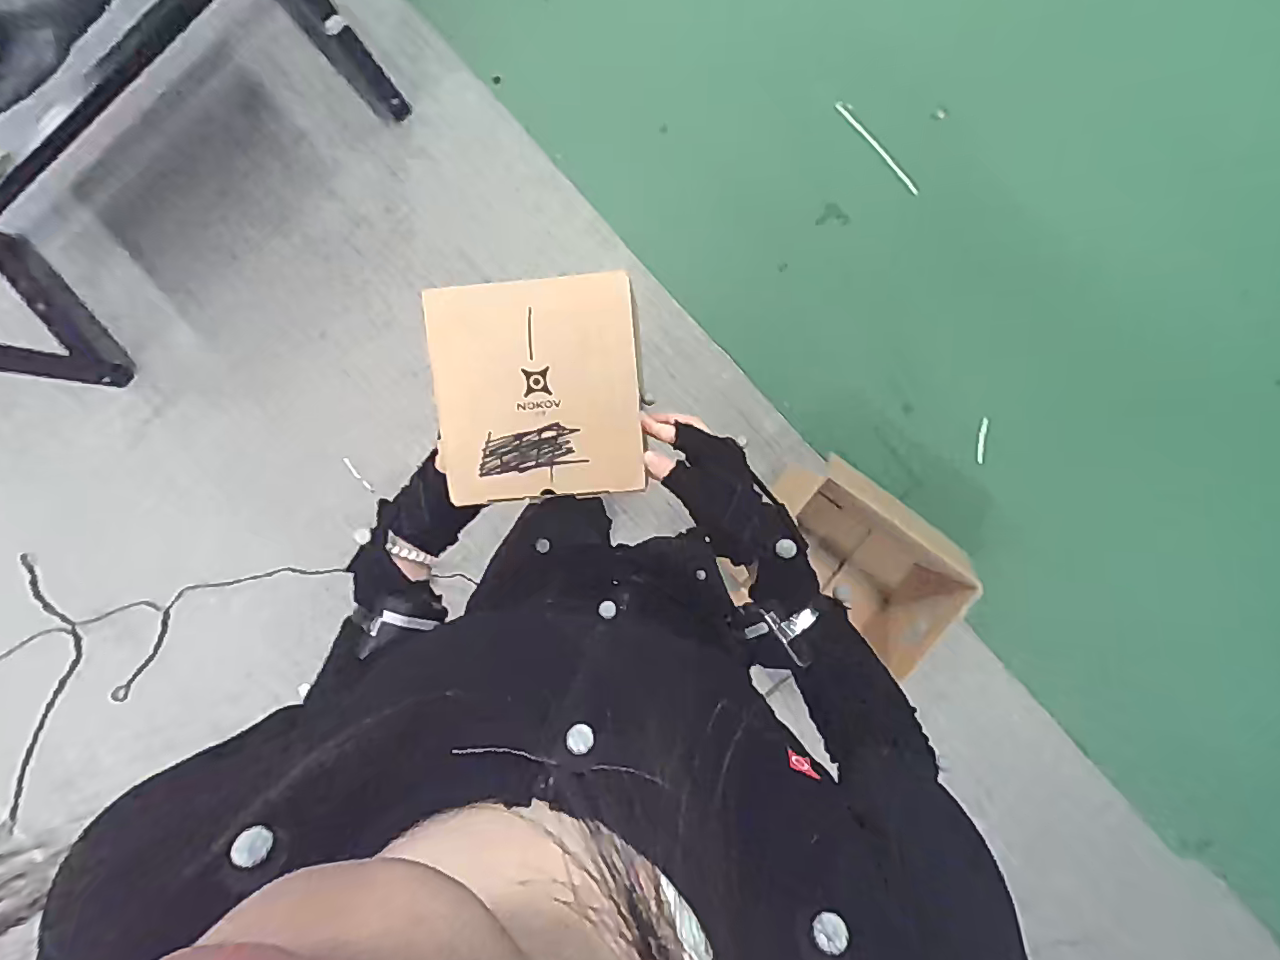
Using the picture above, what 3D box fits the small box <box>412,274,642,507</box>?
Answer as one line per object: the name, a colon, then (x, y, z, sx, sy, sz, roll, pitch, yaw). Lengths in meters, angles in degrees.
small box: (-0.088, -0.082, 0.513, 0.168, 0.176, 0.179, -5, 99, 2)
